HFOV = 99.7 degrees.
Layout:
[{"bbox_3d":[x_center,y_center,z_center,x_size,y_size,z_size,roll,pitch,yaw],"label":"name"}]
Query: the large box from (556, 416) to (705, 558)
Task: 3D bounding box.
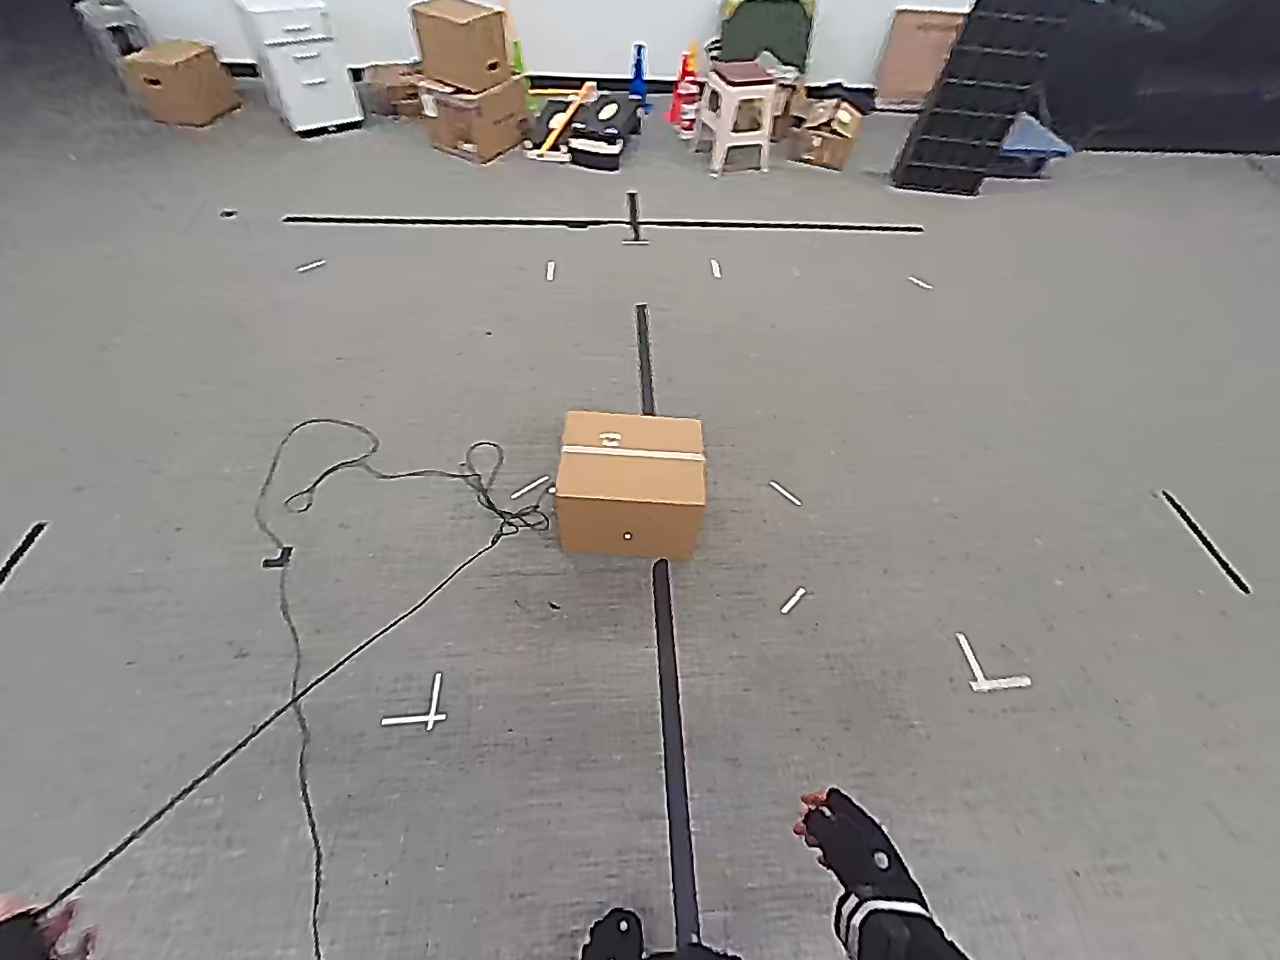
[{"bbox_3d":[-0.027,0.028,1.642,0.408,0.320,0.320,3,53,-1],"label":"large box"}]
